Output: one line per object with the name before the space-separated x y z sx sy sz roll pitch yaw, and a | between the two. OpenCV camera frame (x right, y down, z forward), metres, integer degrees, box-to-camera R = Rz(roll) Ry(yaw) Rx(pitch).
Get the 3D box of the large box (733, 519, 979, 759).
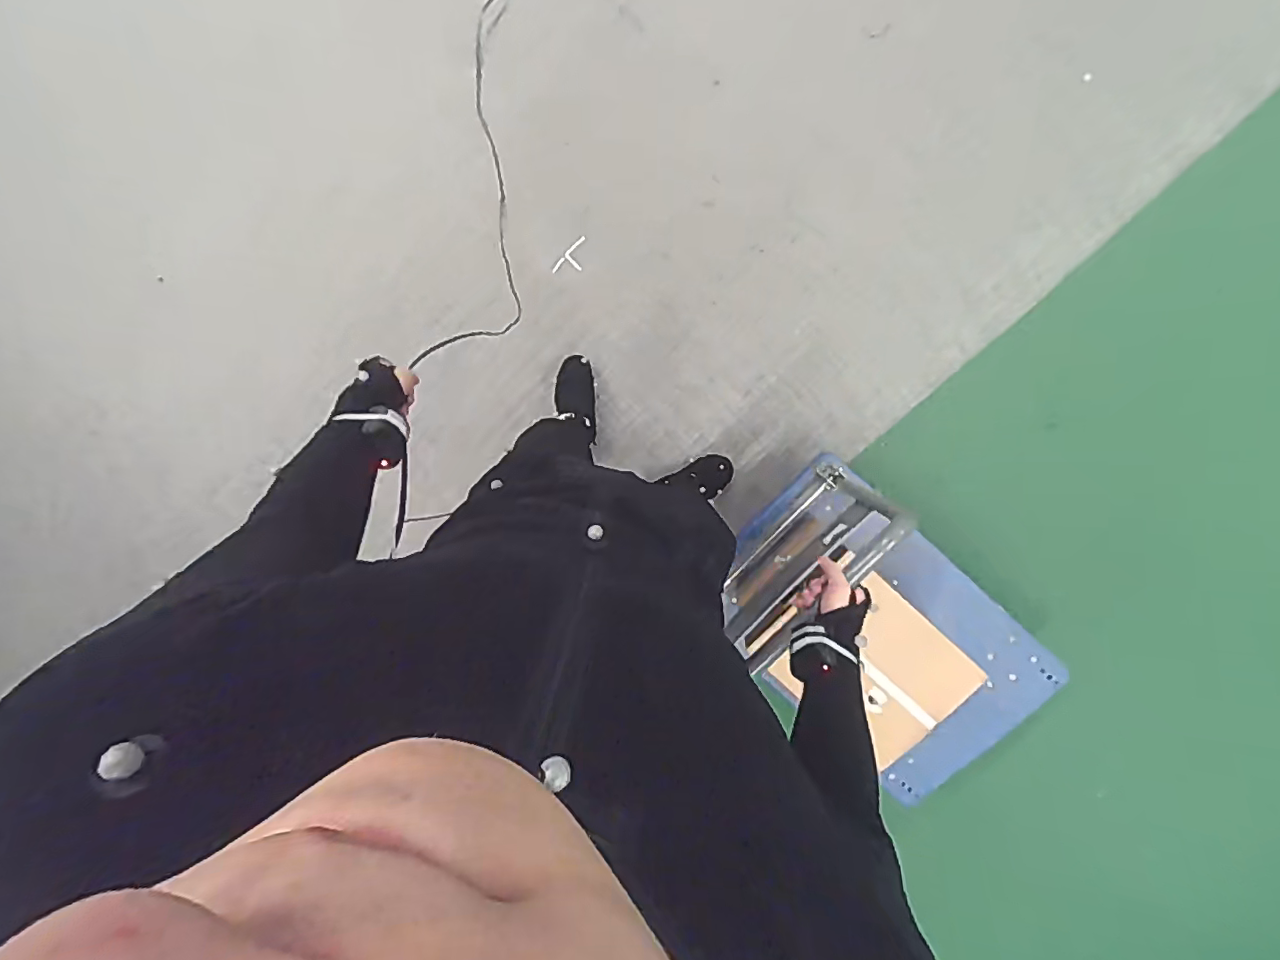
large box | 0.483 0.356 1.307 0.408 0.320 0.320 42 100 -2
